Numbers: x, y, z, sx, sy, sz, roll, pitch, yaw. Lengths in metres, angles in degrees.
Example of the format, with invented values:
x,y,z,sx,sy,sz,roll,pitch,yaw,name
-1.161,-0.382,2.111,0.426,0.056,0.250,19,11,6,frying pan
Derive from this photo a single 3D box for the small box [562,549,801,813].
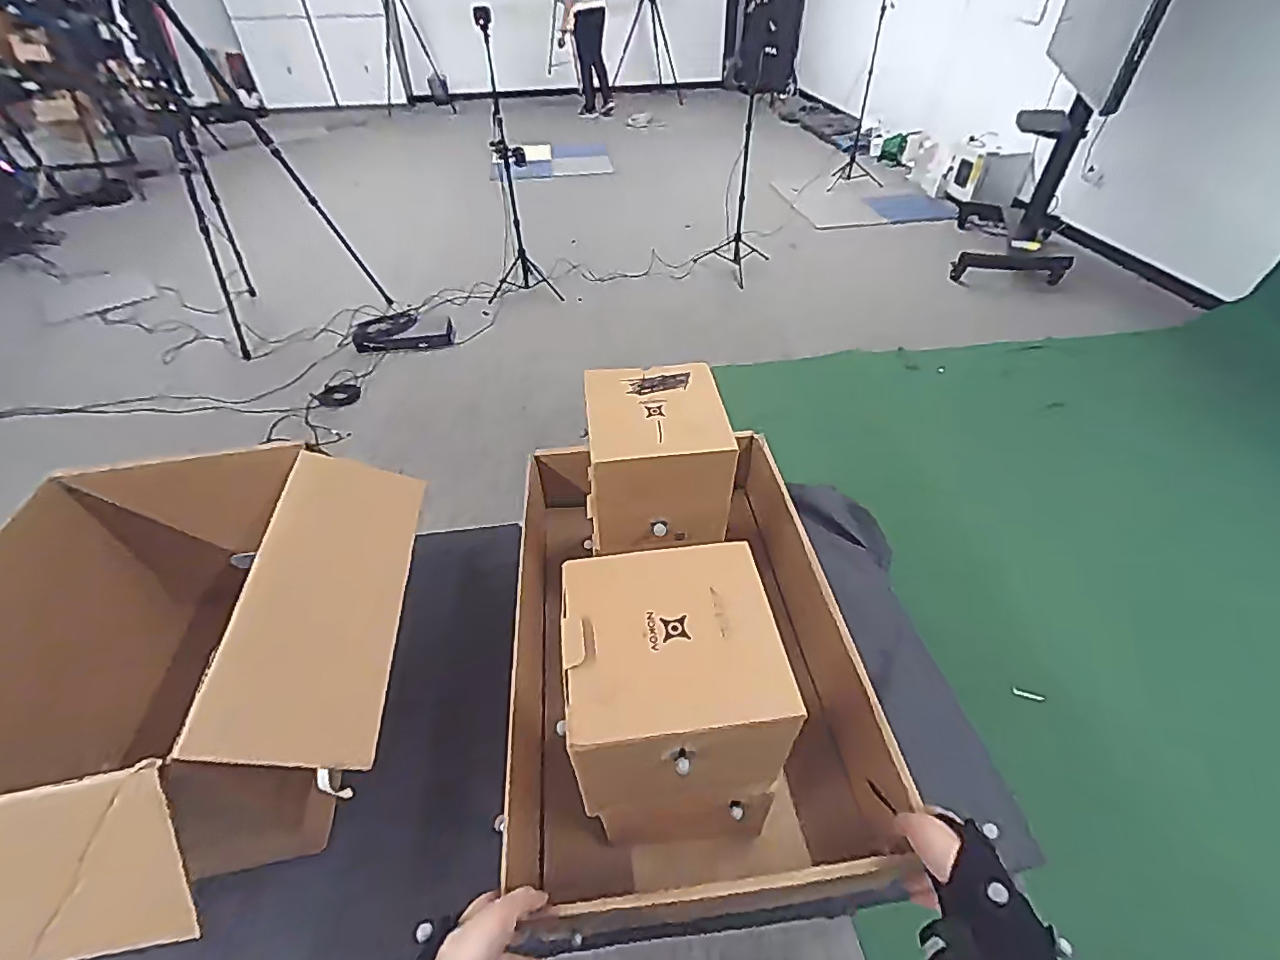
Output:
x,y,z,sx,sy,sz,roll,pitch,yaw,name
0.027,0.187,0.501,0.179,0.176,0.168,-6,45,-5,small box

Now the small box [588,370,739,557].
x,y,z,sx,sy,sz,roll,pitch,yaw,name
0.020,-0.022,0.707,0.168,0.176,0.179,-5,46,-4,small box
